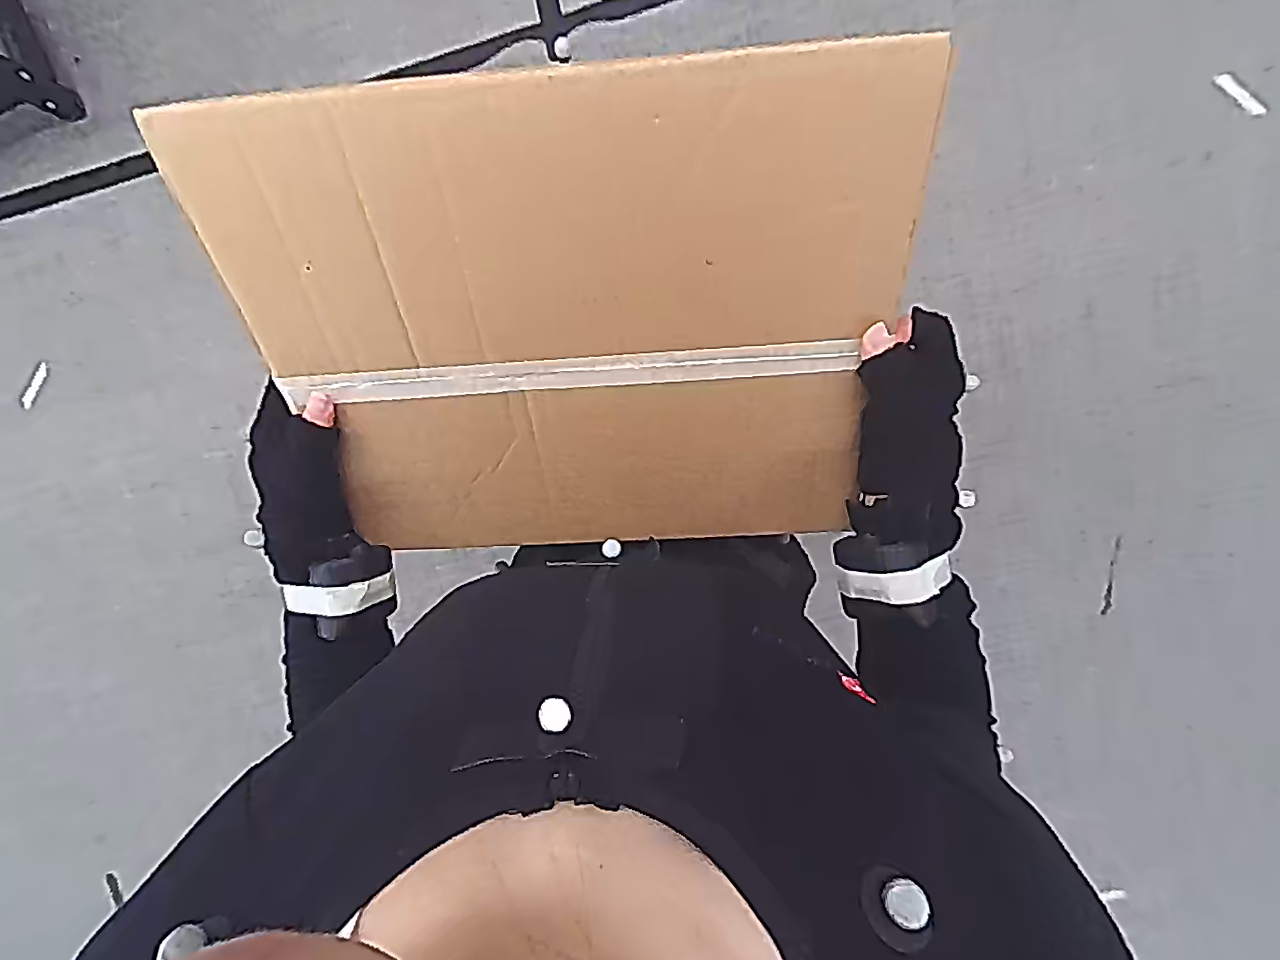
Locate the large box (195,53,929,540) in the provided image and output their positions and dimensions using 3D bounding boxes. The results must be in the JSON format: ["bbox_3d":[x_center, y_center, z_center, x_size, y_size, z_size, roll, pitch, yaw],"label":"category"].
[{"bbox_3d":[-0.033,-0.170,0.490,0.408,0.320,0.320,-3,127,4],"label":"large box"}]
